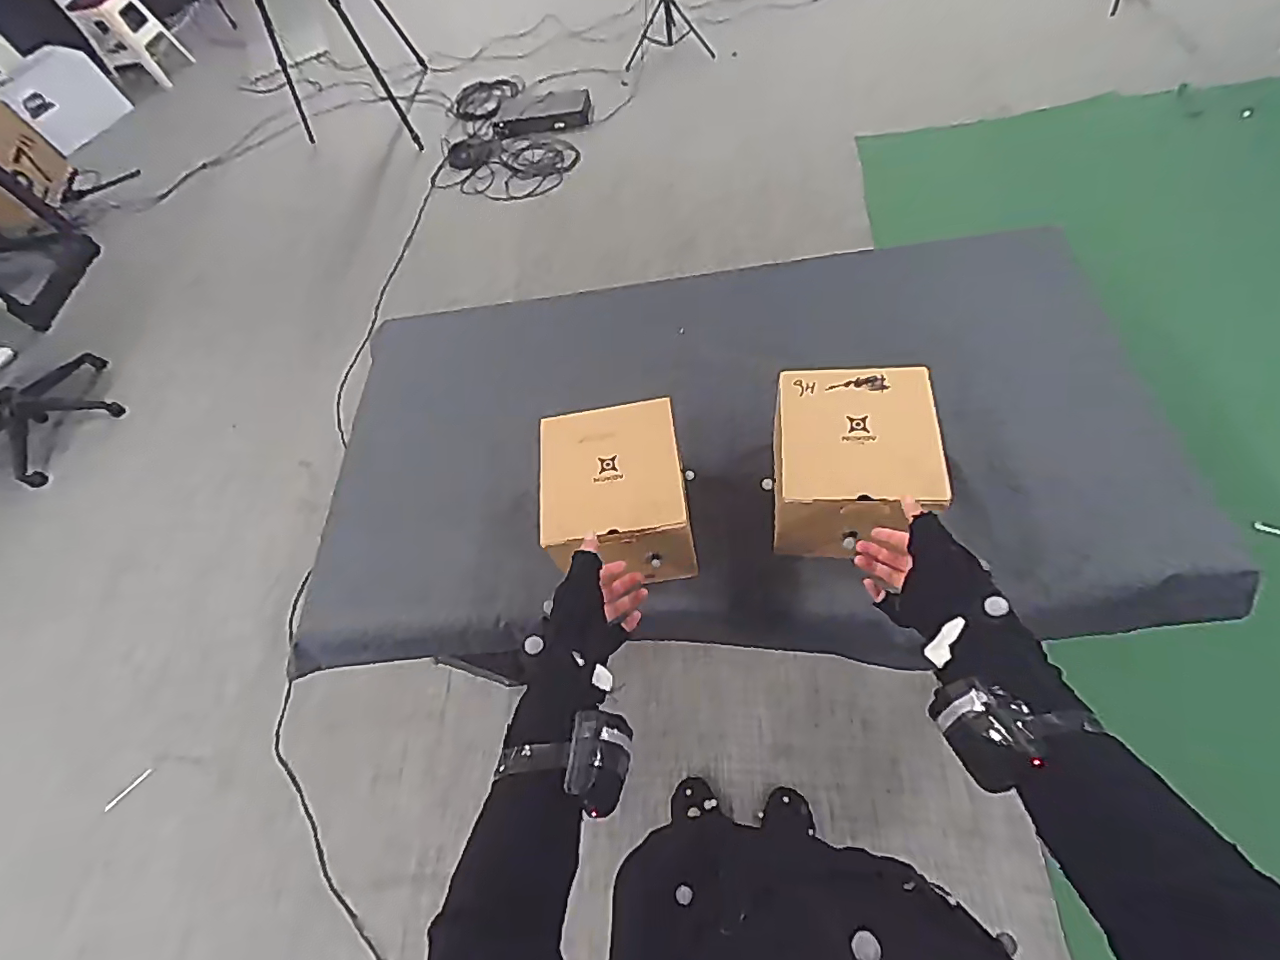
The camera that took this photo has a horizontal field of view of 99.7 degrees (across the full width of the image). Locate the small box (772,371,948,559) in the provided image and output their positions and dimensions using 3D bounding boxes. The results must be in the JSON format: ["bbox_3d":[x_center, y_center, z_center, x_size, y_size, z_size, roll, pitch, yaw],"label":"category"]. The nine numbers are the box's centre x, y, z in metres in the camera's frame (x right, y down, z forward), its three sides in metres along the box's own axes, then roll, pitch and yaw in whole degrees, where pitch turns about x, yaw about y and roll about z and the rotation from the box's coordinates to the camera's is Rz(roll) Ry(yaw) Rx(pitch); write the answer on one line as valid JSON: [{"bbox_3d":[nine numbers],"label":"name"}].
[{"bbox_3d":[0.252,-0.012,0.661,0.168,0.176,0.179,2,63,11],"label":"small box"}]

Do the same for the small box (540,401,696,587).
[{"bbox_3d":[-0.024,0.028,0.693,0.168,0.176,0.179,-9,58,4],"label":"small box"}]
